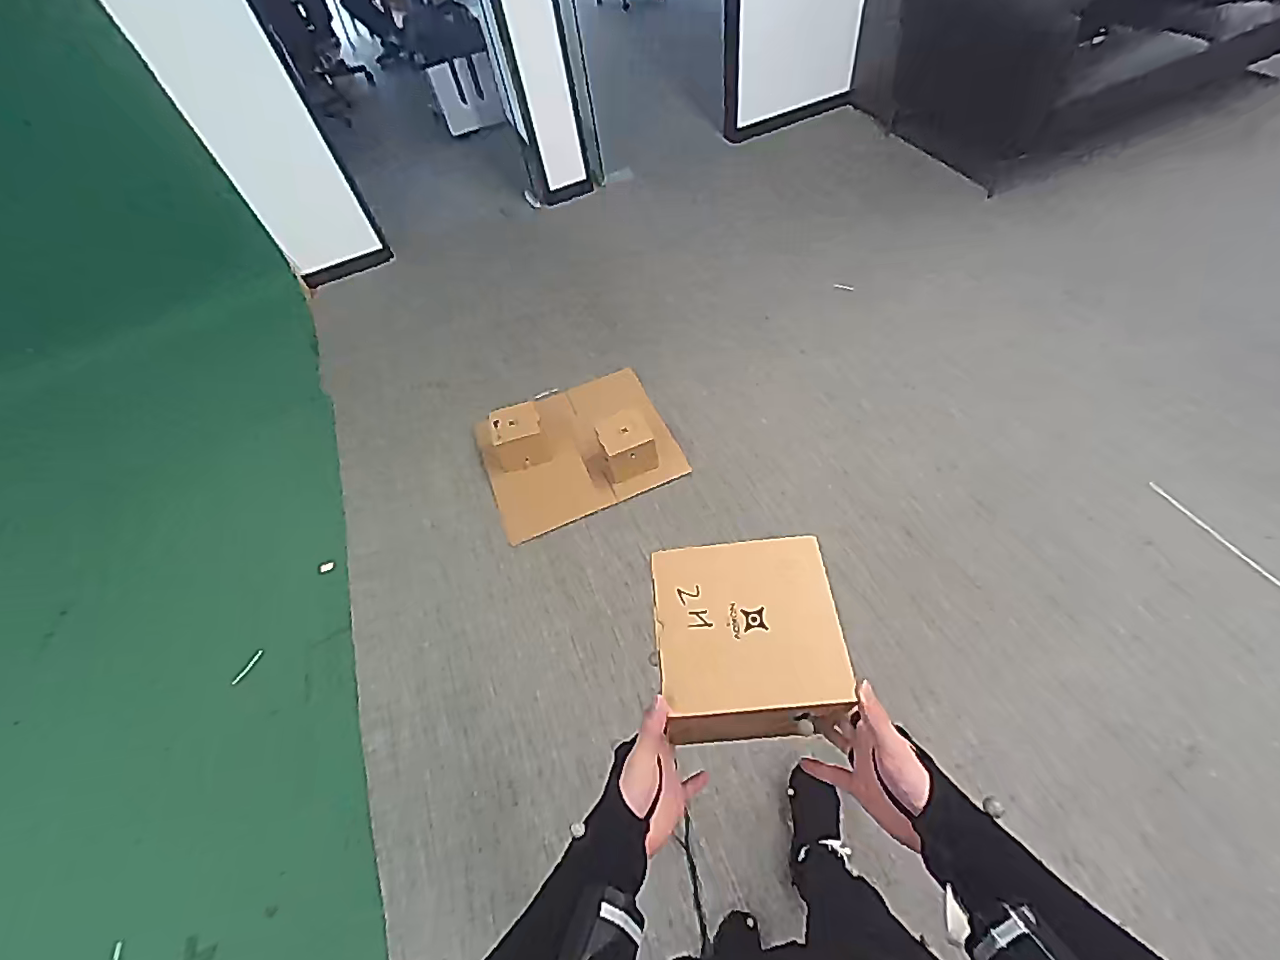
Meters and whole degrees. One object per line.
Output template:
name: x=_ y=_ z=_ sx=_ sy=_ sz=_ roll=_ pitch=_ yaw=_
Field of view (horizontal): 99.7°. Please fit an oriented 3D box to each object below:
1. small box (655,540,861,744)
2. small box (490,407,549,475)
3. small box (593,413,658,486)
small box: x=0.112 y=0.181 z=0.586 sx=0.179 sy=0.176 sz=0.168 roll=-6 pitch=55 yaw=3
small box: x=-0.444 y=-0.142 z=2.017 sx=0.179 sy=0.176 sz=0.168 roll=-15 pitch=54 yaw=-3
small box: x=-0.049 y=-0.105 z=1.939 sx=0.179 sy=0.176 sz=0.168 roll=-21 pitch=55 yaw=-7
